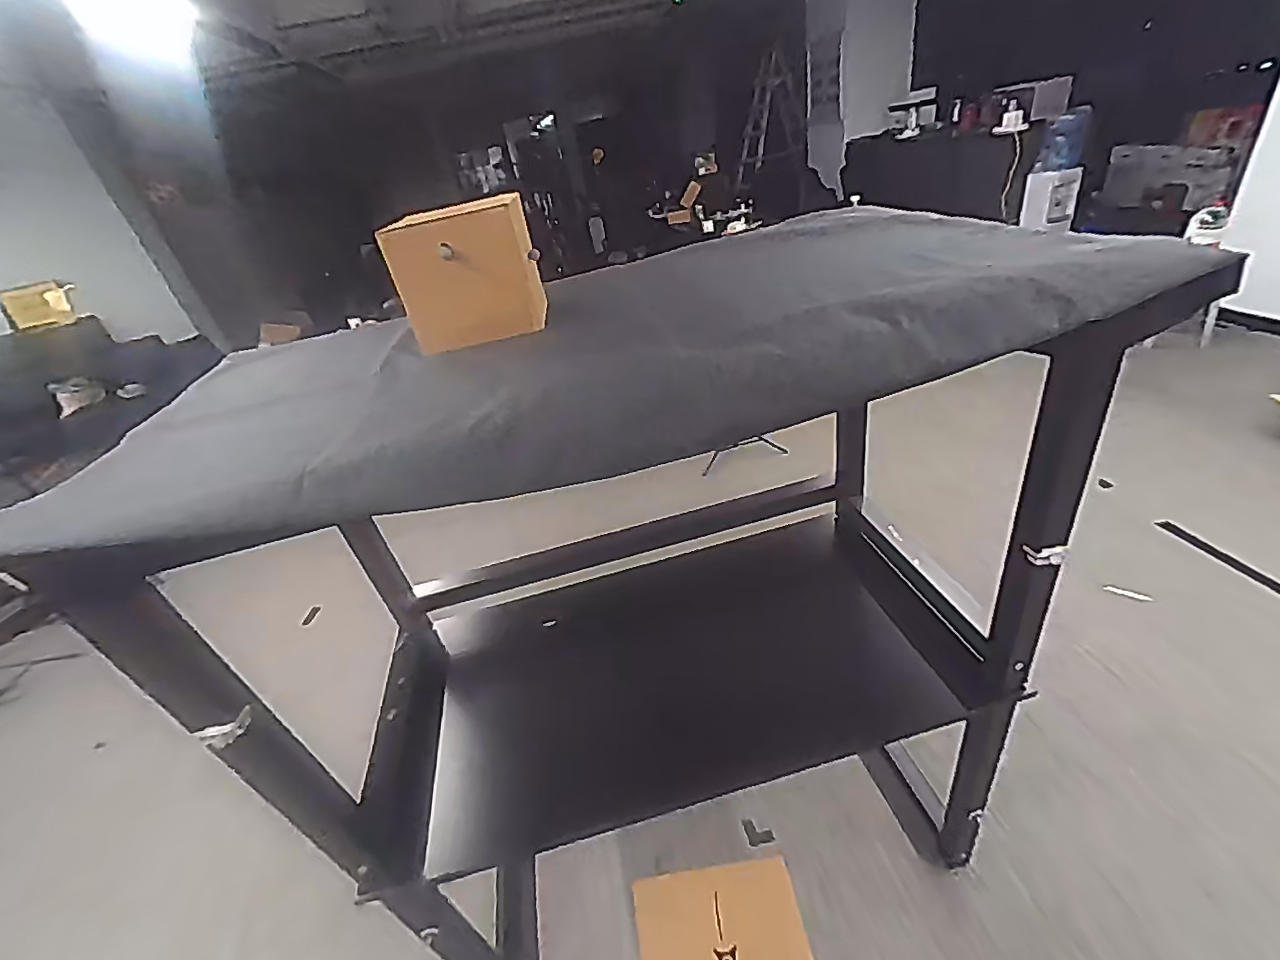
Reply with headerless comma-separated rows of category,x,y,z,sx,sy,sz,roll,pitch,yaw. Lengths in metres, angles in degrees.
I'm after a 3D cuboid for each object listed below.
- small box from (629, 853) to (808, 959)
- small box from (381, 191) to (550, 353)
small box,0.084,0.524,0.558,0.168,0.176,0.179,-7,39,-4
small box,-0.235,-0.303,0.785,0.179,0.176,0.168,-12,33,1
